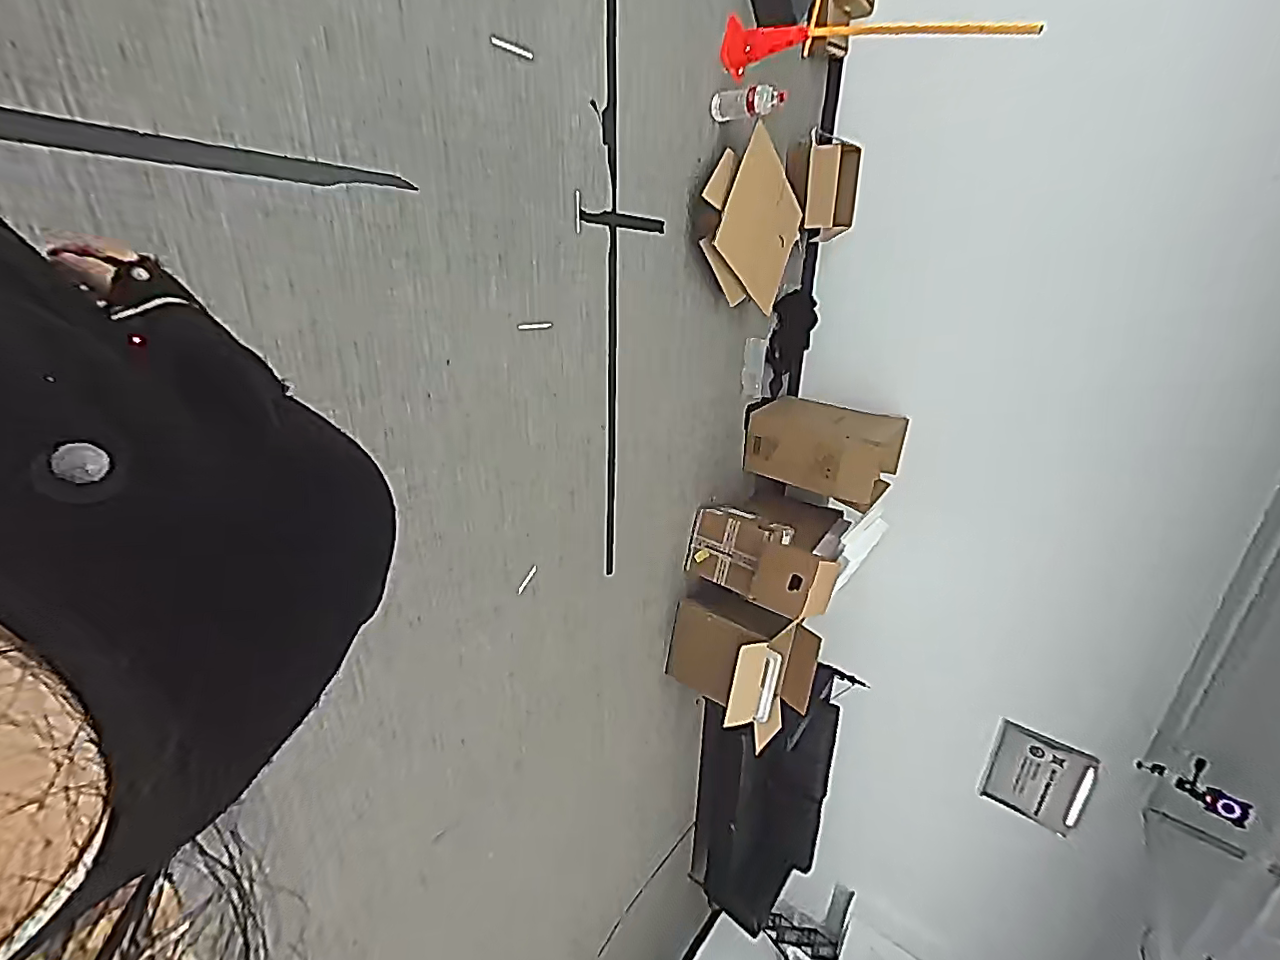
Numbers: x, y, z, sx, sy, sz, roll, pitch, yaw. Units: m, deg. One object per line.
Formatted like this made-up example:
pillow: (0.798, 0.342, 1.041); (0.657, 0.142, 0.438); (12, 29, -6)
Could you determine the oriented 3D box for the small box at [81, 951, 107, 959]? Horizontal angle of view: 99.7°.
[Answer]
small box: (-1.065, 1.039, 0.993); (0.179, 0.176, 0.168); (-24, 121, -46)
